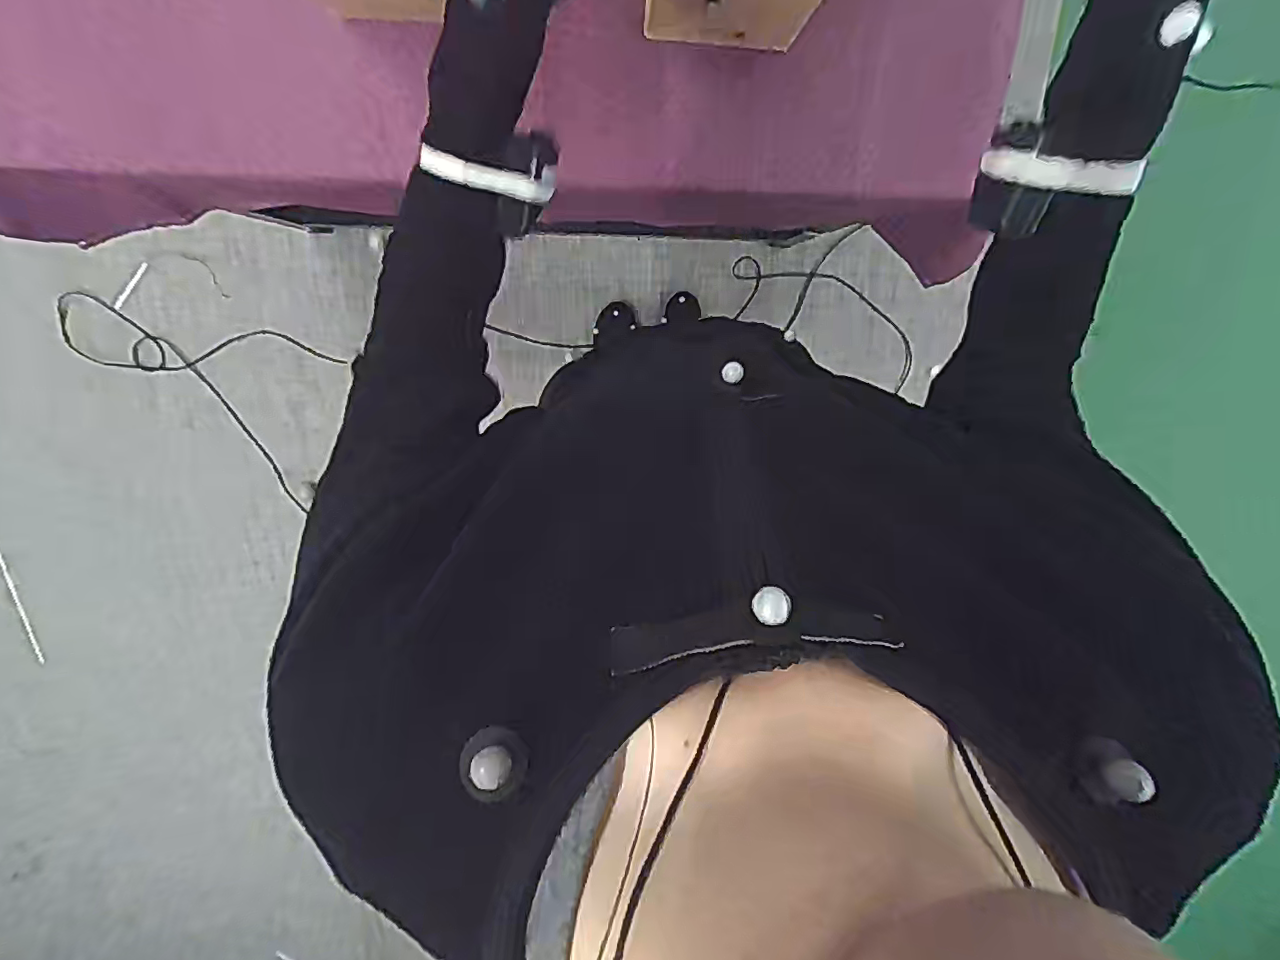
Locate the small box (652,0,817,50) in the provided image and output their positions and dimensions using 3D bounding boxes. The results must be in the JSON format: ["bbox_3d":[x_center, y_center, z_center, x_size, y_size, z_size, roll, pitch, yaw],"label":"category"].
[{"bbox_3d":[0.101,-0.552,0.516,0.168,0.176,0.179,2,106,-3],"label":"small box"}]
